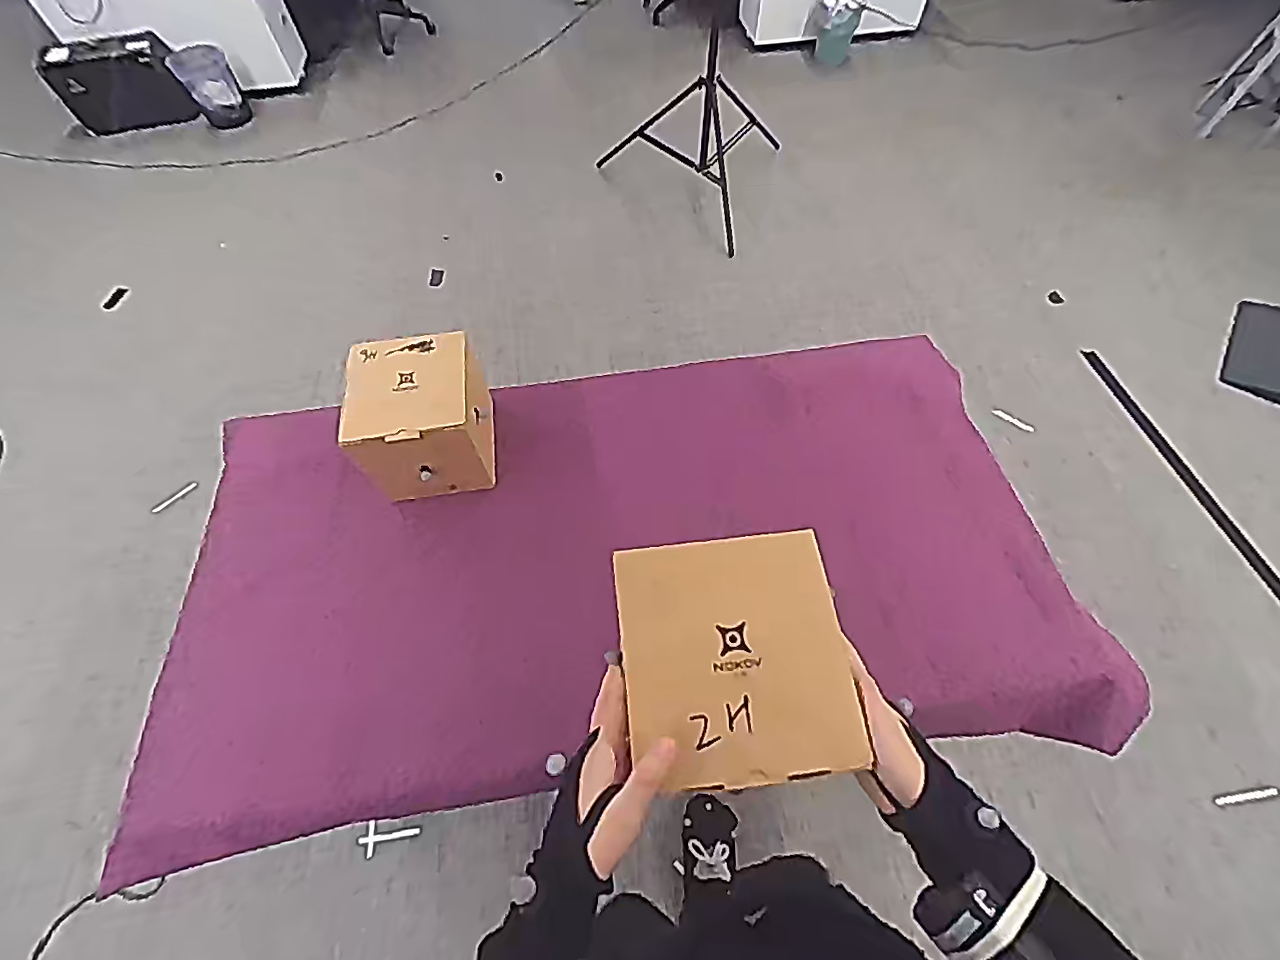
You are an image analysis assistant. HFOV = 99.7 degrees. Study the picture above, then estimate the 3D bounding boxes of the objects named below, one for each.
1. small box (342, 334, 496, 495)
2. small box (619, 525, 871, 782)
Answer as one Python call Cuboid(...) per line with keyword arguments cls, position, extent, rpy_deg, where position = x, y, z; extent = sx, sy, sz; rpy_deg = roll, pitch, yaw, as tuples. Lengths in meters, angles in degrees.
Cuboid(cls="small box", position=(-0.318, -0.089, 0.814), extent=(0.168, 0.176, 0.179), rpy_deg=(-8, 61, -4))
Cuboid(cls="small box", position=(0.071, 0.156, 0.476), extent=(0.168, 0.176, 0.179), rpy_deg=(-6, 65, -1))
